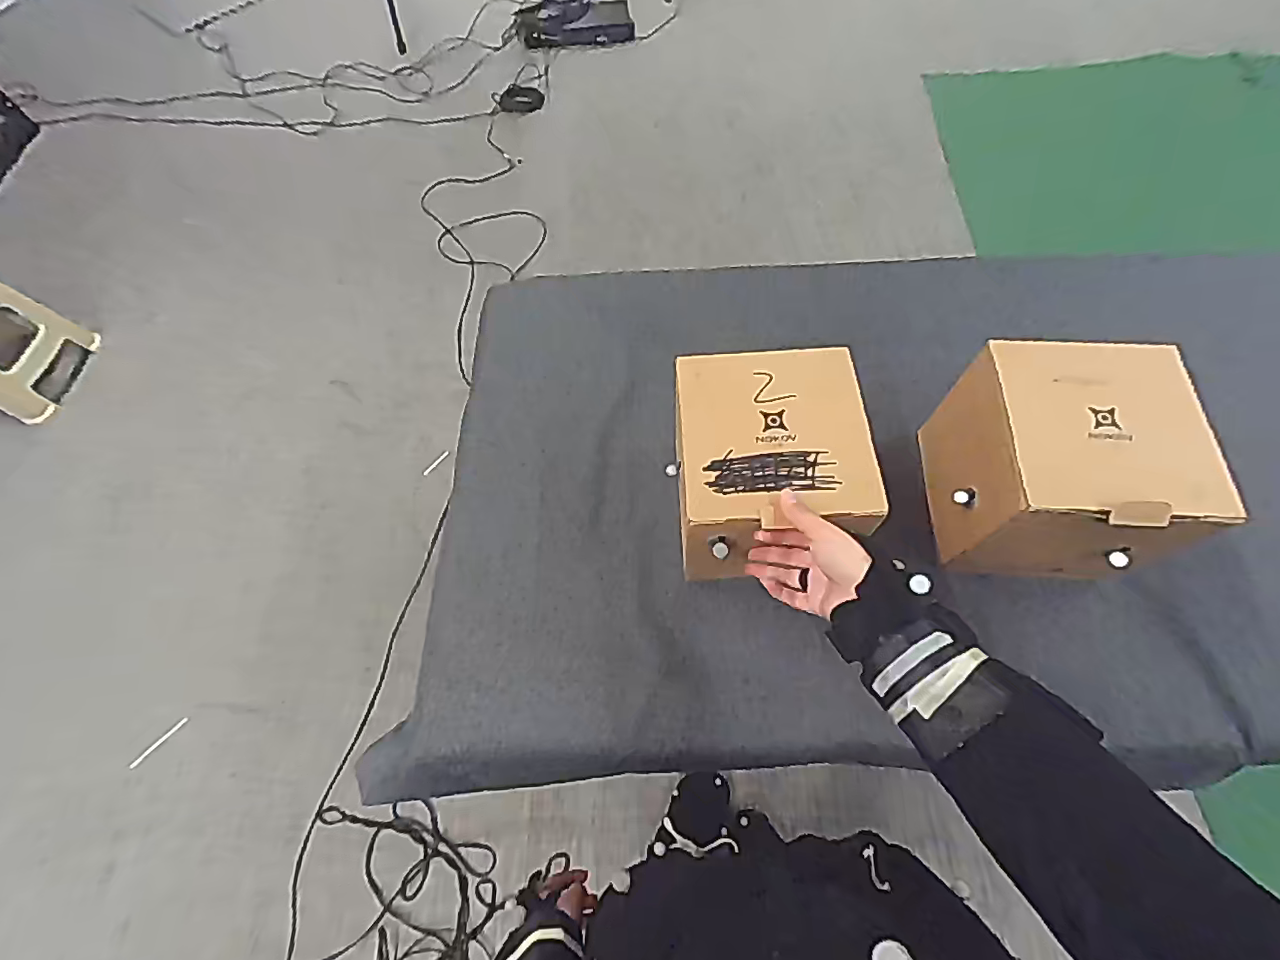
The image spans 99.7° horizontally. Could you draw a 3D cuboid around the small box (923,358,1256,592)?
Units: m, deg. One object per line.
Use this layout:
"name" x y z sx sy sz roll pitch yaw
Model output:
"small box" 0.406 0.003 0.532 0.168 0.176 0.179 2 62 5
